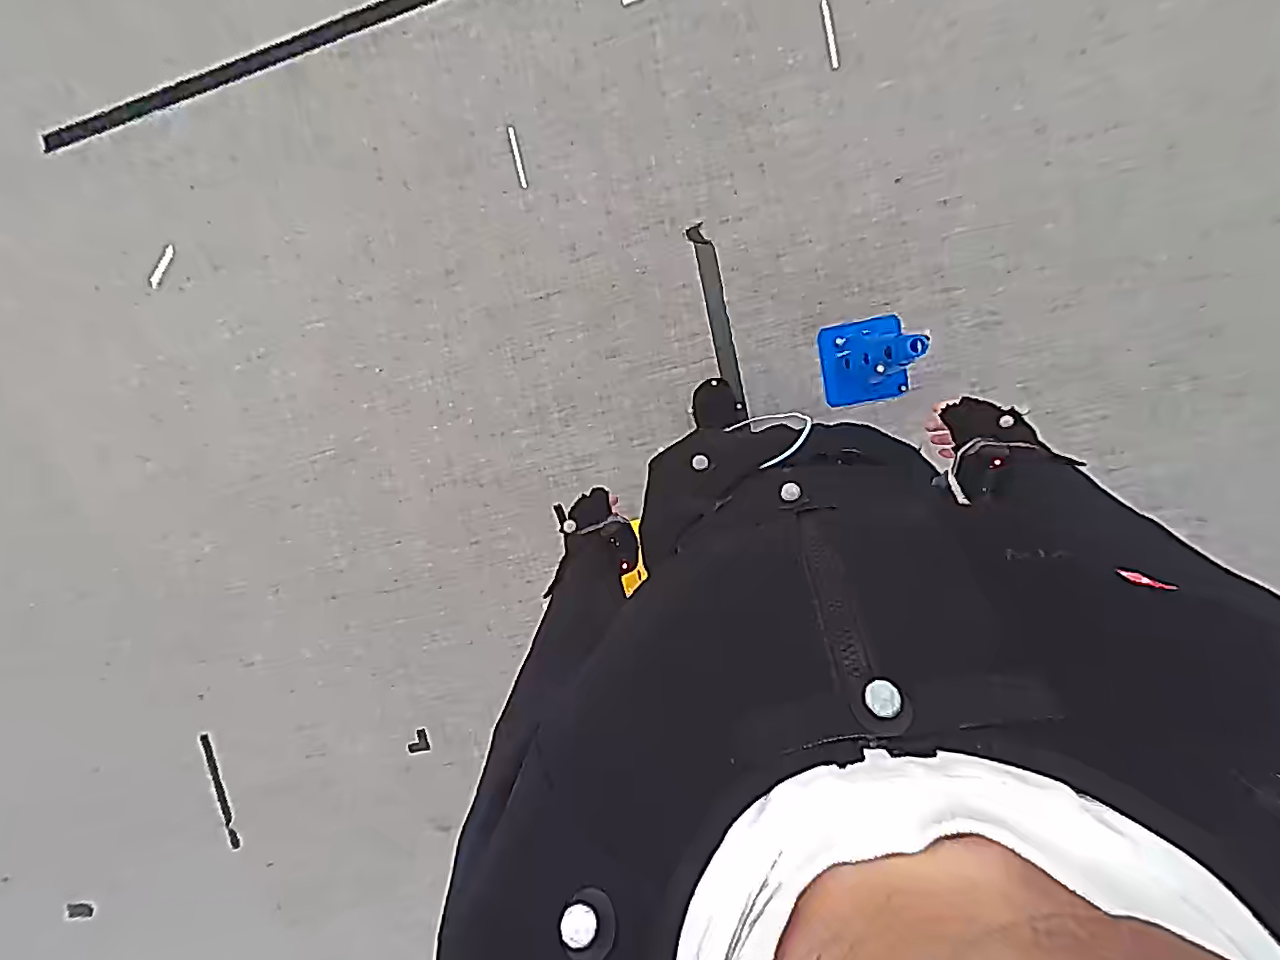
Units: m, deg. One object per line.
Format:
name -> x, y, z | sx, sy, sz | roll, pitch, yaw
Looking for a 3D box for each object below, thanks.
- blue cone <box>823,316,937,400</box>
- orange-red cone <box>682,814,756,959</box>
blue cone -> 0.540, -0.279, 1.182 | 0.192, 0.380, 0.193 | -8, 96, 7
orange-red cone -> 0.204, 1.066, 1.374 | 0.199, 0.360, 0.198 | -7, 95, 9
